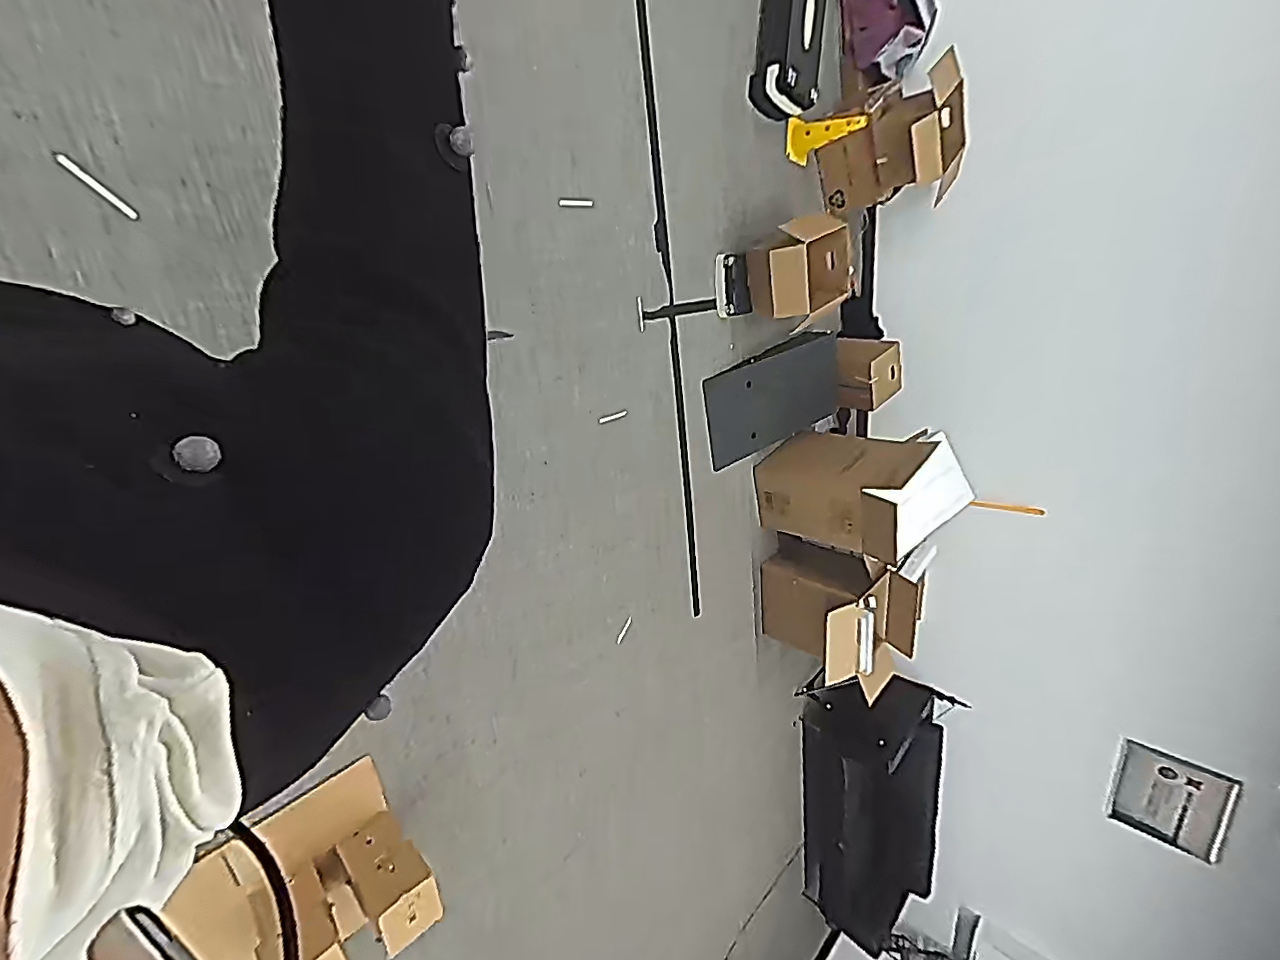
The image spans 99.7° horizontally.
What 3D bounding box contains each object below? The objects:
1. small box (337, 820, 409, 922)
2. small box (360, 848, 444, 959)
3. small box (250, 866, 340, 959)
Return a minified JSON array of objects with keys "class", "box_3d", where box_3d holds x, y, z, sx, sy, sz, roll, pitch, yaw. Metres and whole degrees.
[{"class":"small box","box_3d":[-0.837,1.230,1.721,0.168,0.176,0.179,-22,114,-41]},{"class":"small box","box_3d":[-0.712,1.262,1.617,0.168,0.176,0.179,-21,114,-42]},{"class":"small box","box_3d":[-0.999,1.283,1.568,0.168,0.176,0.179,-20,114,-41]}]
